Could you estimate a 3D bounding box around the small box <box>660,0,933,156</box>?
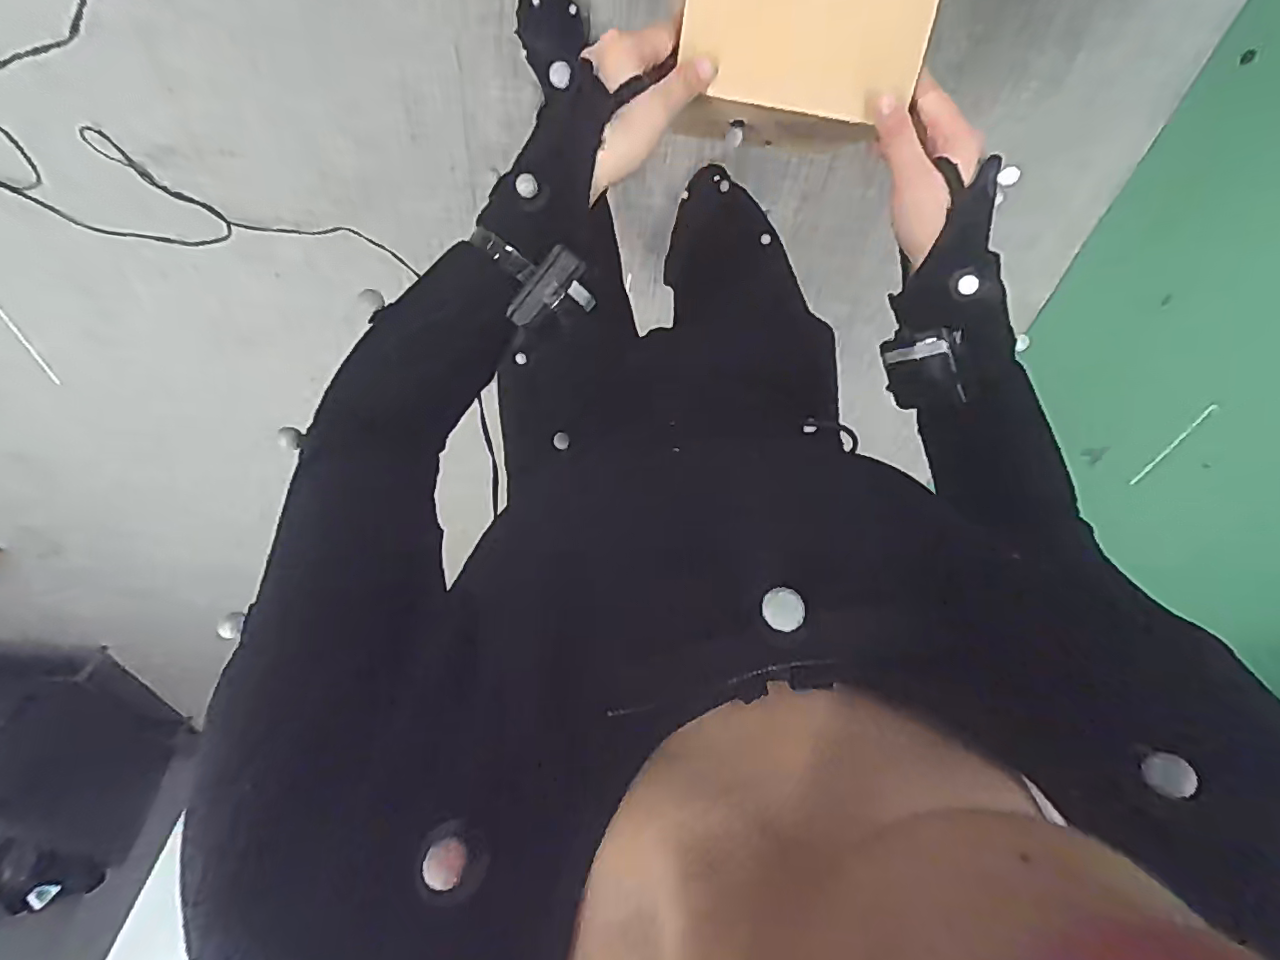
[{"bbox_3d":[0.110,-0.365,0.413,0.168,0.176,0.179,7,114,-5],"label":"small box"}]
